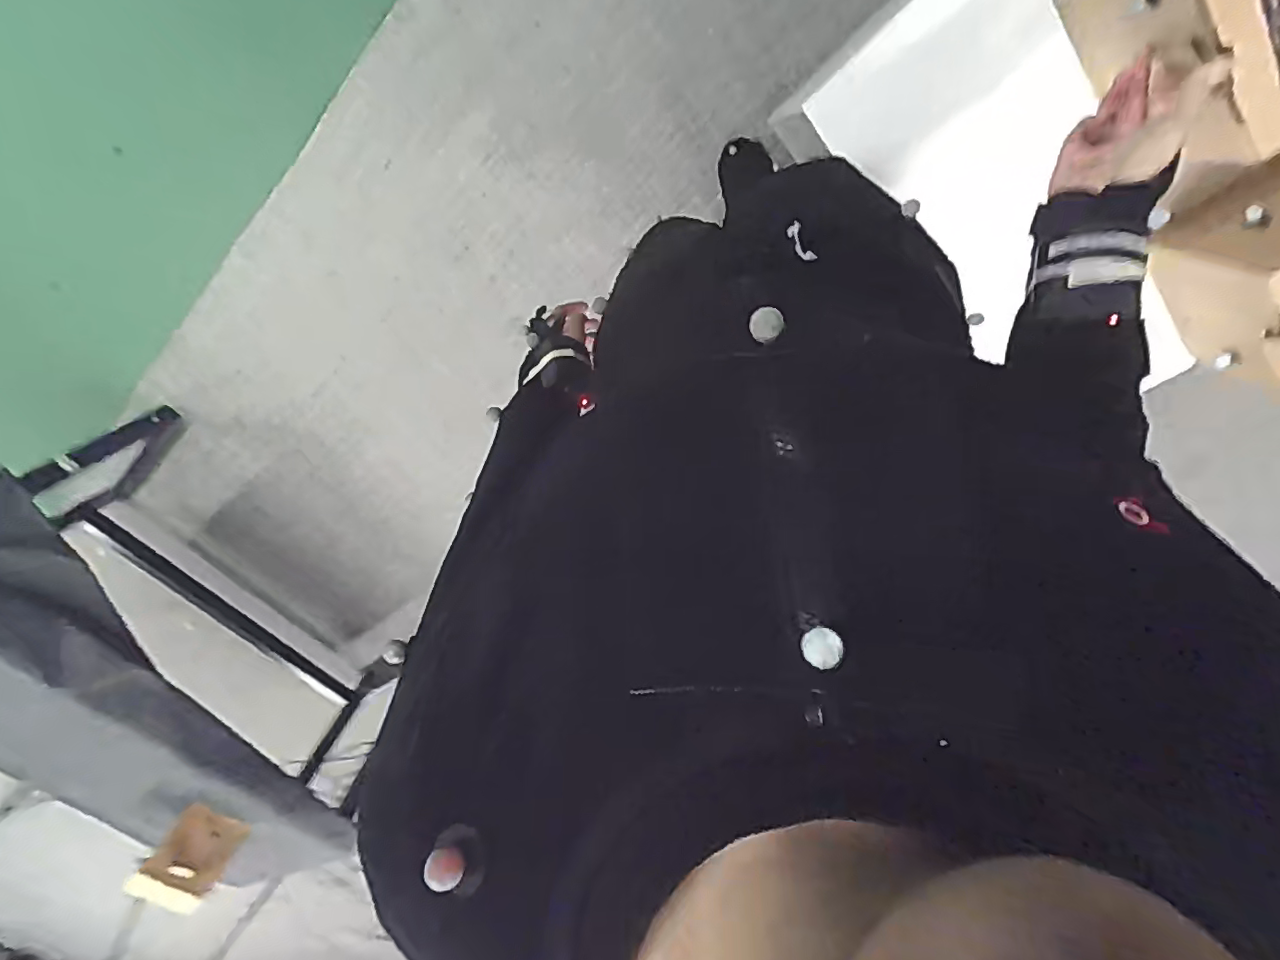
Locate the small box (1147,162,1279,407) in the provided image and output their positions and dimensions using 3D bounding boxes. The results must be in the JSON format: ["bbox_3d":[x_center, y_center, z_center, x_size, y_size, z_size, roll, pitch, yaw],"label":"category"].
[{"bbox_3d":[0.622,-0.187,0.492,0.179,0.176,0.168,-35,112,25],"label":"small box"}]

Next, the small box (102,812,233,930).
[{"bbox_3d":[-1.159,0.964,1.338,0.168,0.176,0.179,39,119,-14],"label":"small box"}]
